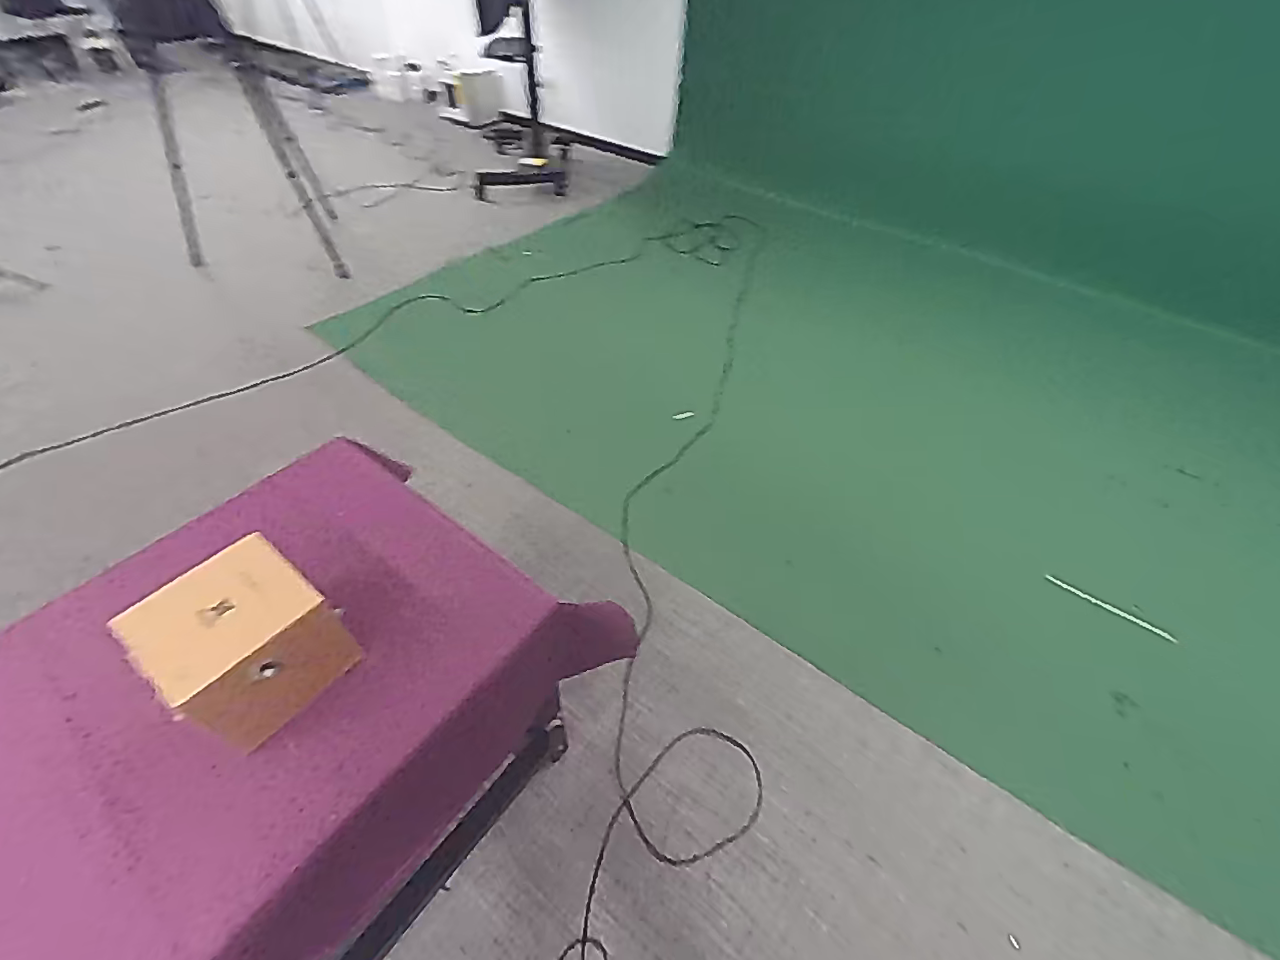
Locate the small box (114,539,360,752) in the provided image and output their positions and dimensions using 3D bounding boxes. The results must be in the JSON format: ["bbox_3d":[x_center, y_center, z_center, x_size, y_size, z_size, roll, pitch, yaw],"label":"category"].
[{"bbox_3d":[-0.514,0.220,0.715,0.168,0.176,0.179,32,52,23],"label":"small box"}]
